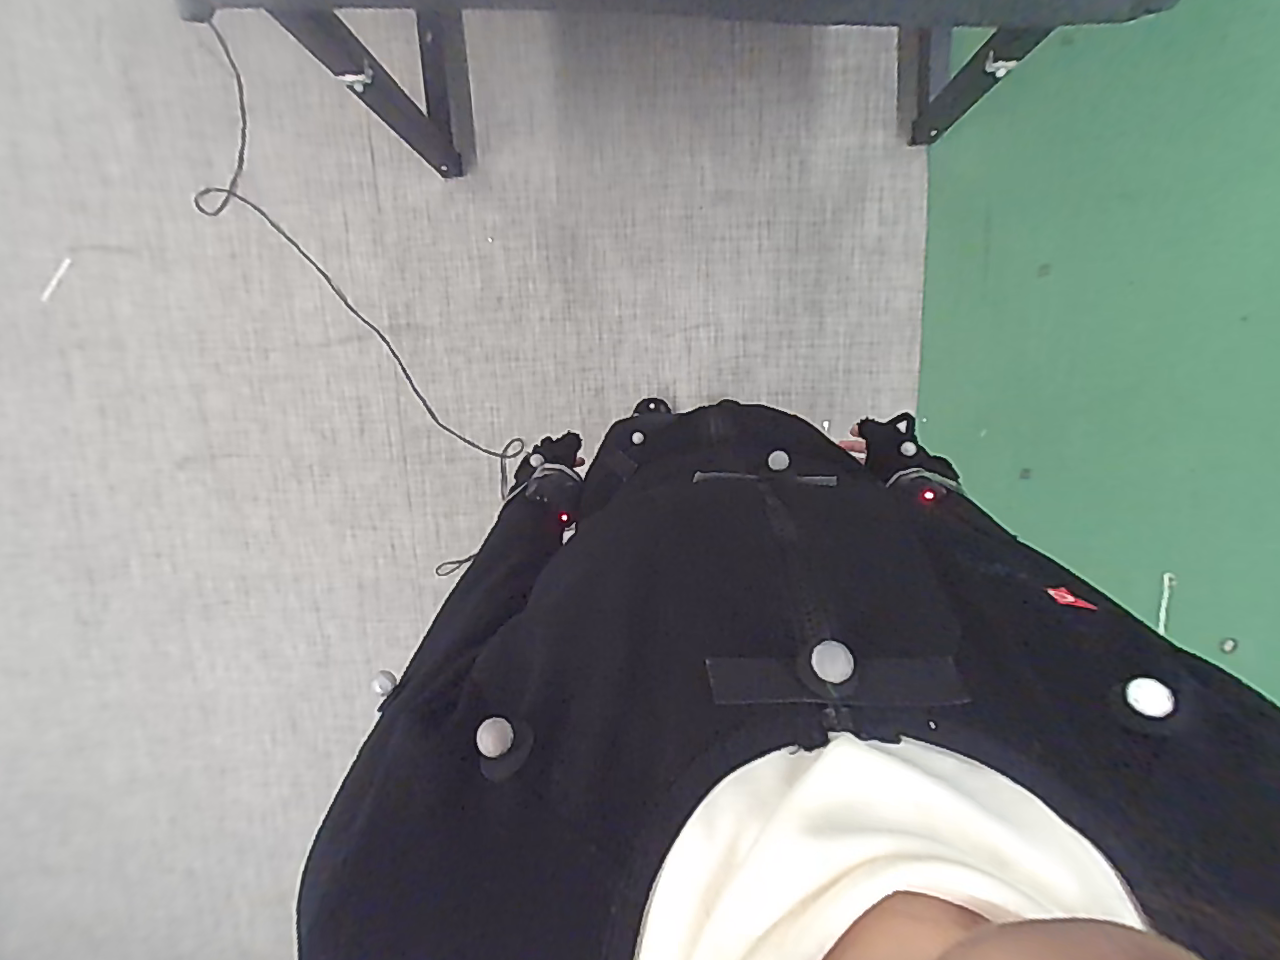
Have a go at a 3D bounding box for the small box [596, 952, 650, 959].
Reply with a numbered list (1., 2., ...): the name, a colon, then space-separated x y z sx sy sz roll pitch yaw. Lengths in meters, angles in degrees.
1. small box: -0.058 1.567 1.624 0.179 0.176 0.168 -4 102 2
